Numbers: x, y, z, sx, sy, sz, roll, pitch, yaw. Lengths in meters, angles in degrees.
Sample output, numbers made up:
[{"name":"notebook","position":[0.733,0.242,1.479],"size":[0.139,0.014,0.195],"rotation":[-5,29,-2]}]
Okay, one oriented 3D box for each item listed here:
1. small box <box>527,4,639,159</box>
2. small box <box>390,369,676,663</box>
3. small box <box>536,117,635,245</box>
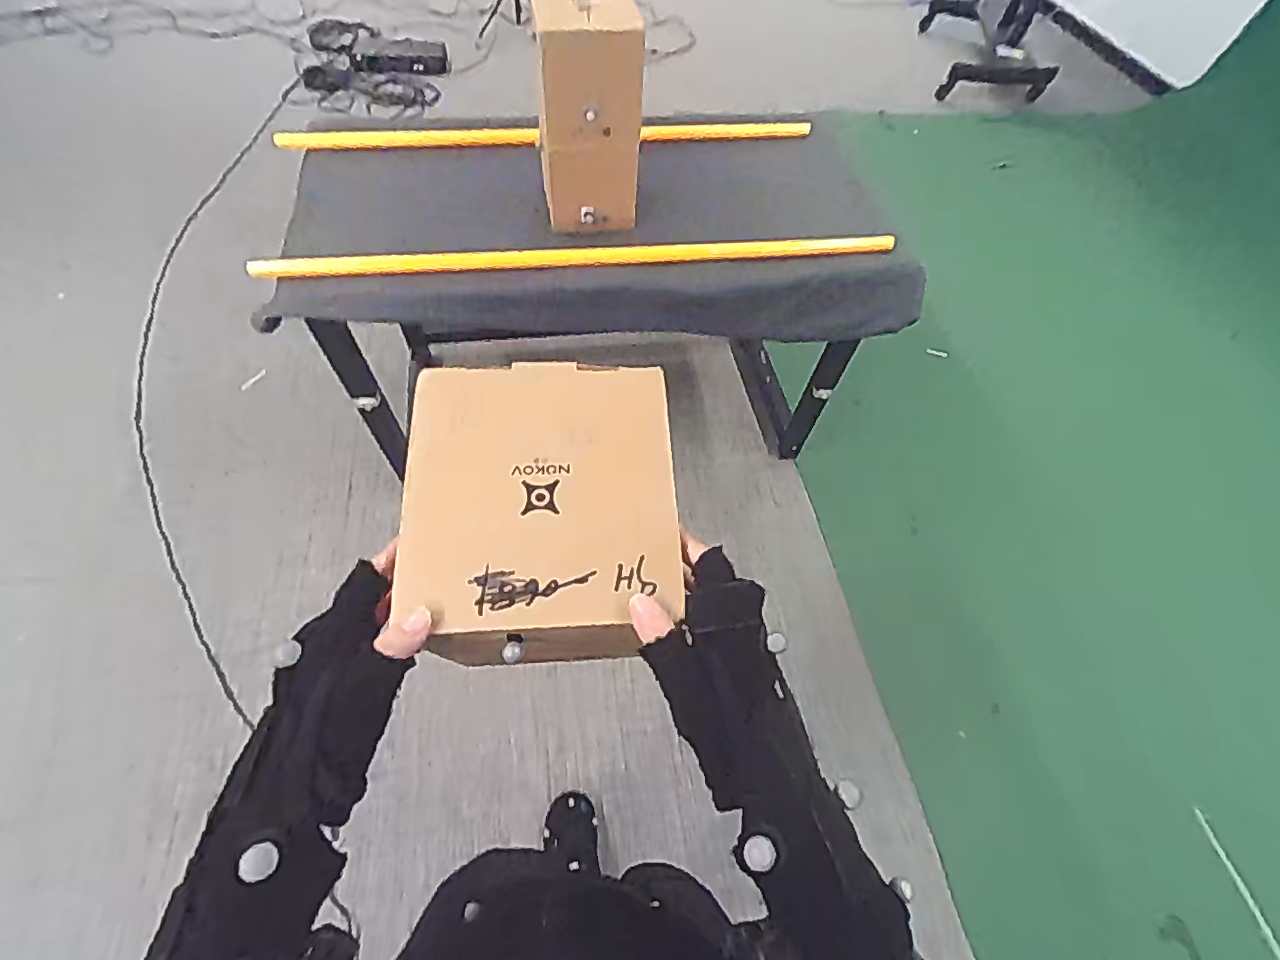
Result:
[{"name":"small box","position":[-0.100,-0.686,0.936],"size":[0.168,0.176,0.179],"rotation":[-8,59,-8]},{"name":"small box","position":[-0.069,0.035,0.416],"size":[0.168,0.176,0.179],"rotation":[-2,65,-4]},{"name":"small box","position":[-0.110,-0.595,1.073],"size":[0.168,0.176,0.179],"rotation":[-9,60,-8]}]
